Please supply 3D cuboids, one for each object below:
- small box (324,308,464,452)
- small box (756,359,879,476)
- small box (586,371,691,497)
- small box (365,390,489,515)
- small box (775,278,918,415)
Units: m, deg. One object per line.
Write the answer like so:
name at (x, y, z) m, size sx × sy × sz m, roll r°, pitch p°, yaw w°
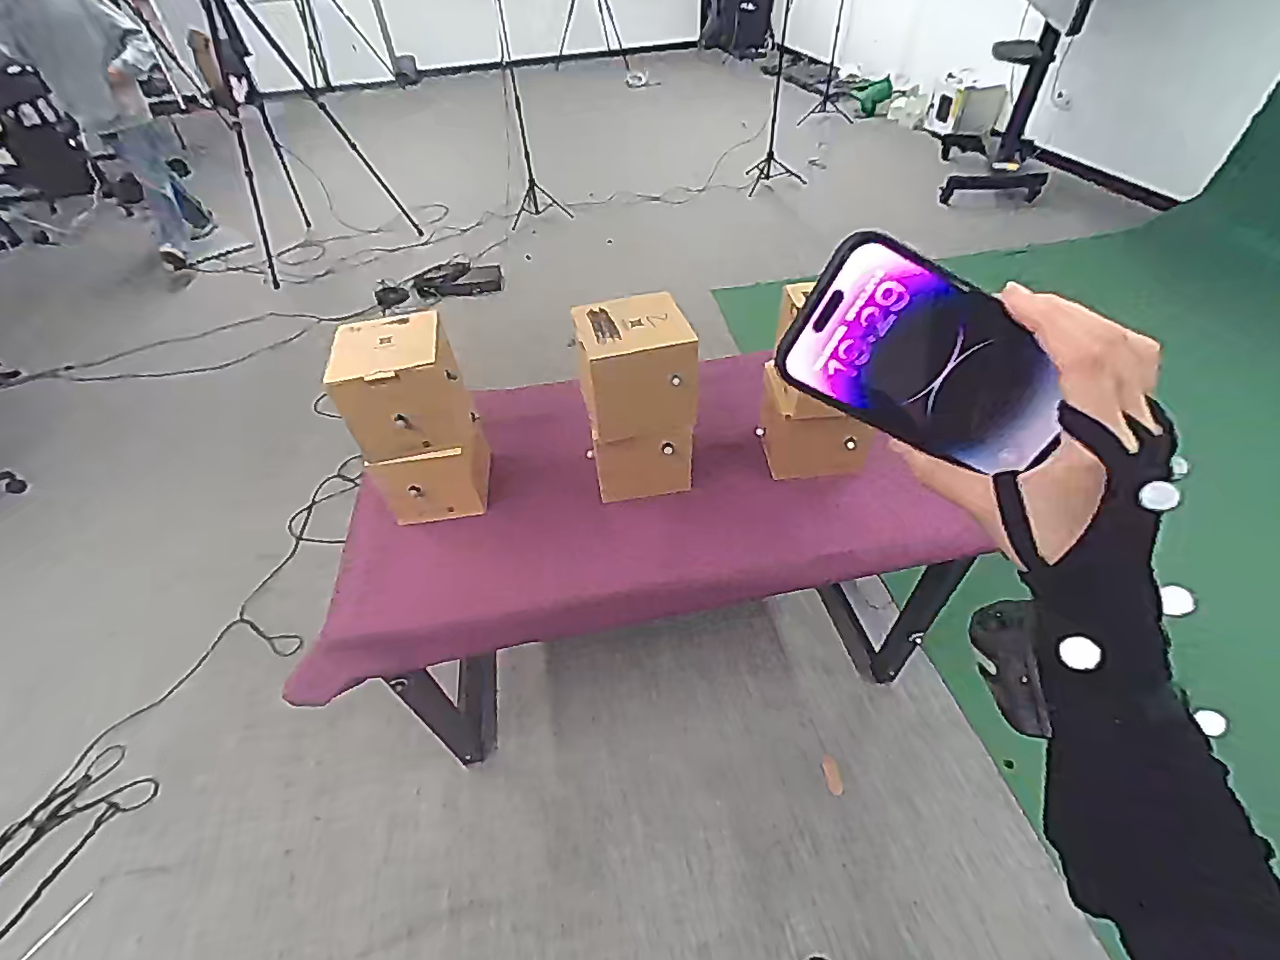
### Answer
small box at (-0.403, -0.164, 0.921) m, size 0.168 × 0.176 × 0.179 m, roll -11°, pitch 48°, yaw -7°
small box at (0.334, -0.123, 1.055) m, size 0.179 × 0.176 × 0.168 m, roll -4°, pitch 46°, yaw 1°
small box at (-0.004, -0.086, 1.043) m, size 0.179 × 0.176 × 0.168 m, roll -8°, pitch 47°, yaw -3°
small box at (-0.393, -0.046, 1.035) m, size 0.168 × 0.176 × 0.179 m, roll -8°, pitch 47°, yaw -3°
small box at (0.336, -0.225, 0.927) m, size 0.179 × 0.176 × 0.168 m, roll -3°, pitch 46°, yaw 0°
